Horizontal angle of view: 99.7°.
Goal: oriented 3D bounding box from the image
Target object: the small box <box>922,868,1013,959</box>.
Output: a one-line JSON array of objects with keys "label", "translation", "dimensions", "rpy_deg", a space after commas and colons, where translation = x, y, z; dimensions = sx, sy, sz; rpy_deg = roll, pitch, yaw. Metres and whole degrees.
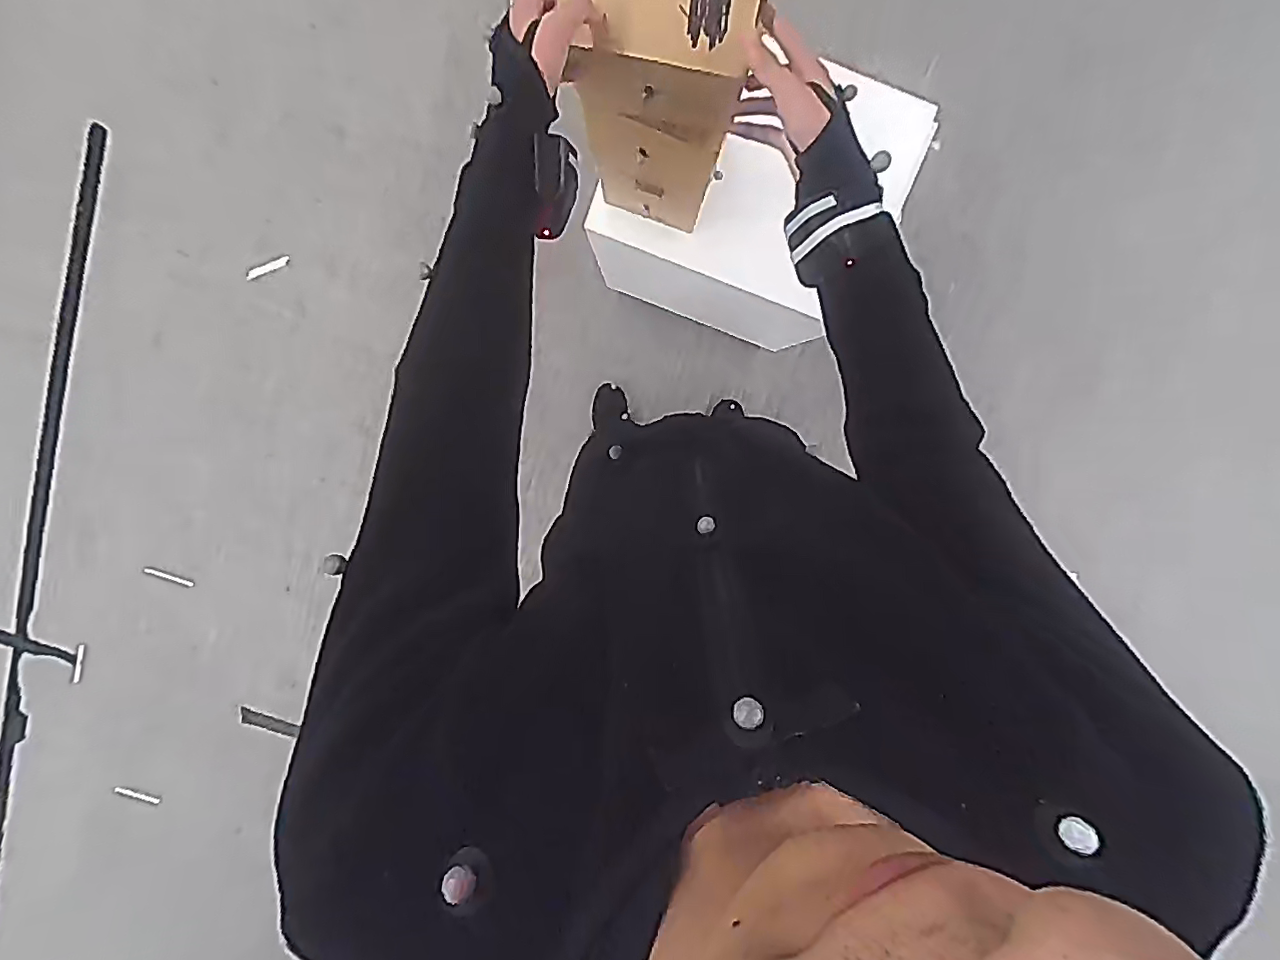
[{"label": "small box", "translation": [1.077, 1.443, 1.796], "dimensions": [0.168, 0.176, 0.179], "rpy_deg": [18, 101, -2]}]

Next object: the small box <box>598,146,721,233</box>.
[{"label": "small box", "translation": [0.038, -0.524, 0.854], "dimensions": [0.168, 0.176, 0.179], "rpy_deg": [19, 100, -2]}]

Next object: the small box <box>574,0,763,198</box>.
[{"label": "small box", "translation": [0.033, -0.491, 0.693], "dimensions": [0.179, 0.176, 0.168], "rpy_deg": [20, 99, -2]}]
